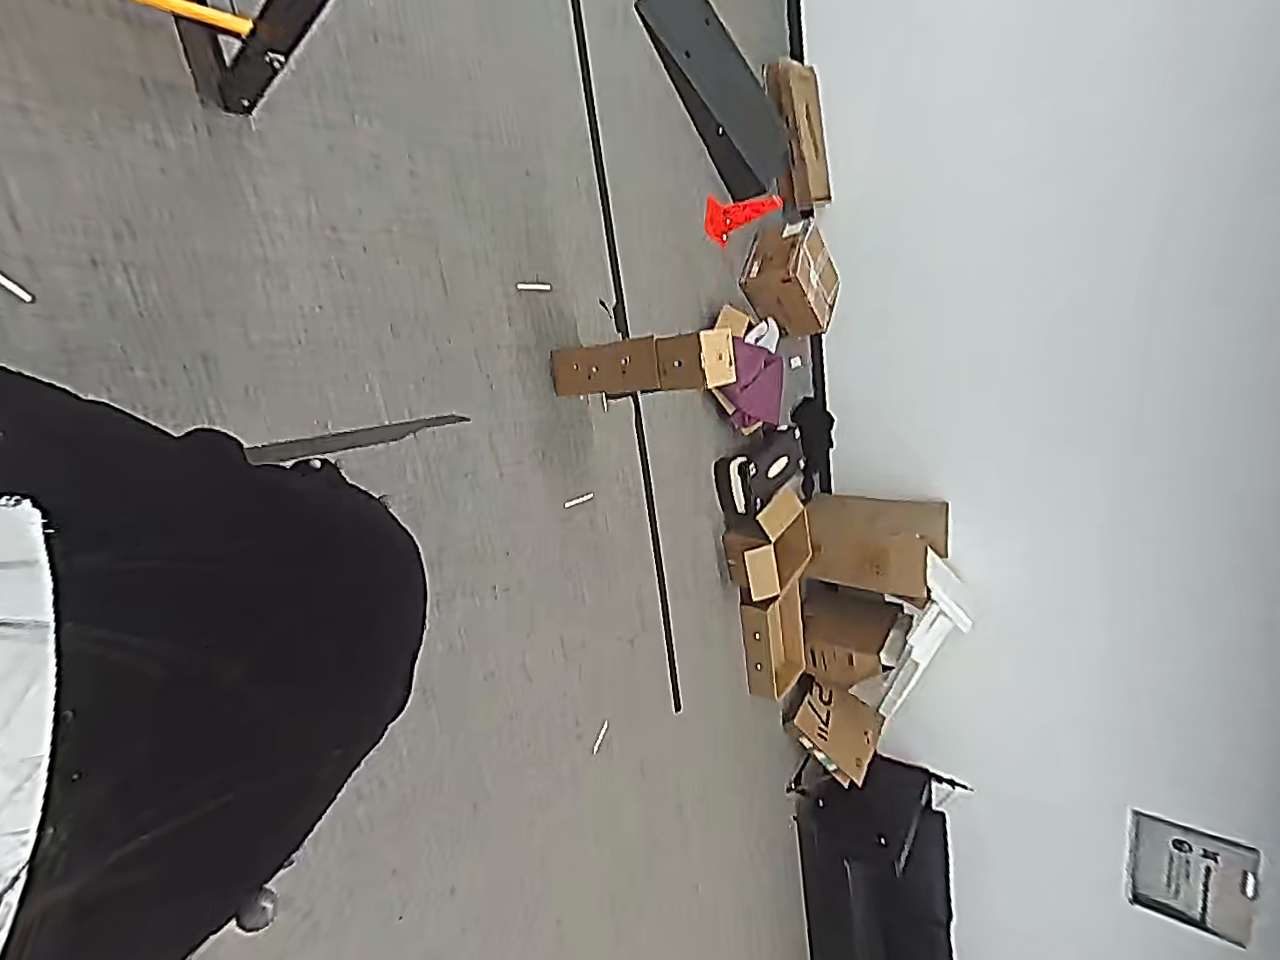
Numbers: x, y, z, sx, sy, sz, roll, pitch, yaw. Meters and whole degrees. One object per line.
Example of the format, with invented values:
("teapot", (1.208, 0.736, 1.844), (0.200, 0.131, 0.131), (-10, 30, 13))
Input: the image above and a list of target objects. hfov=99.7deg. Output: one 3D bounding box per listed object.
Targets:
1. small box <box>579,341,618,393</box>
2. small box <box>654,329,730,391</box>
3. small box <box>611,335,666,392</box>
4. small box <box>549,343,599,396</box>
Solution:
("small box", (-0.090, -0.394, 1.894), (0.179, 0.176, 0.168), (-17, 105, -48))
("small box", (0.157, -0.372, 1.682), (0.179, 0.176, 0.168), (-22, 109, -47))
("small box", (0.025, -0.382, 1.780), (0.179, 0.176, 0.168), (-17, 105, -47))
("small box", (-0.220, -0.407, 1.994), (0.168, 0.176, 0.179), (-17, 106, -48))
